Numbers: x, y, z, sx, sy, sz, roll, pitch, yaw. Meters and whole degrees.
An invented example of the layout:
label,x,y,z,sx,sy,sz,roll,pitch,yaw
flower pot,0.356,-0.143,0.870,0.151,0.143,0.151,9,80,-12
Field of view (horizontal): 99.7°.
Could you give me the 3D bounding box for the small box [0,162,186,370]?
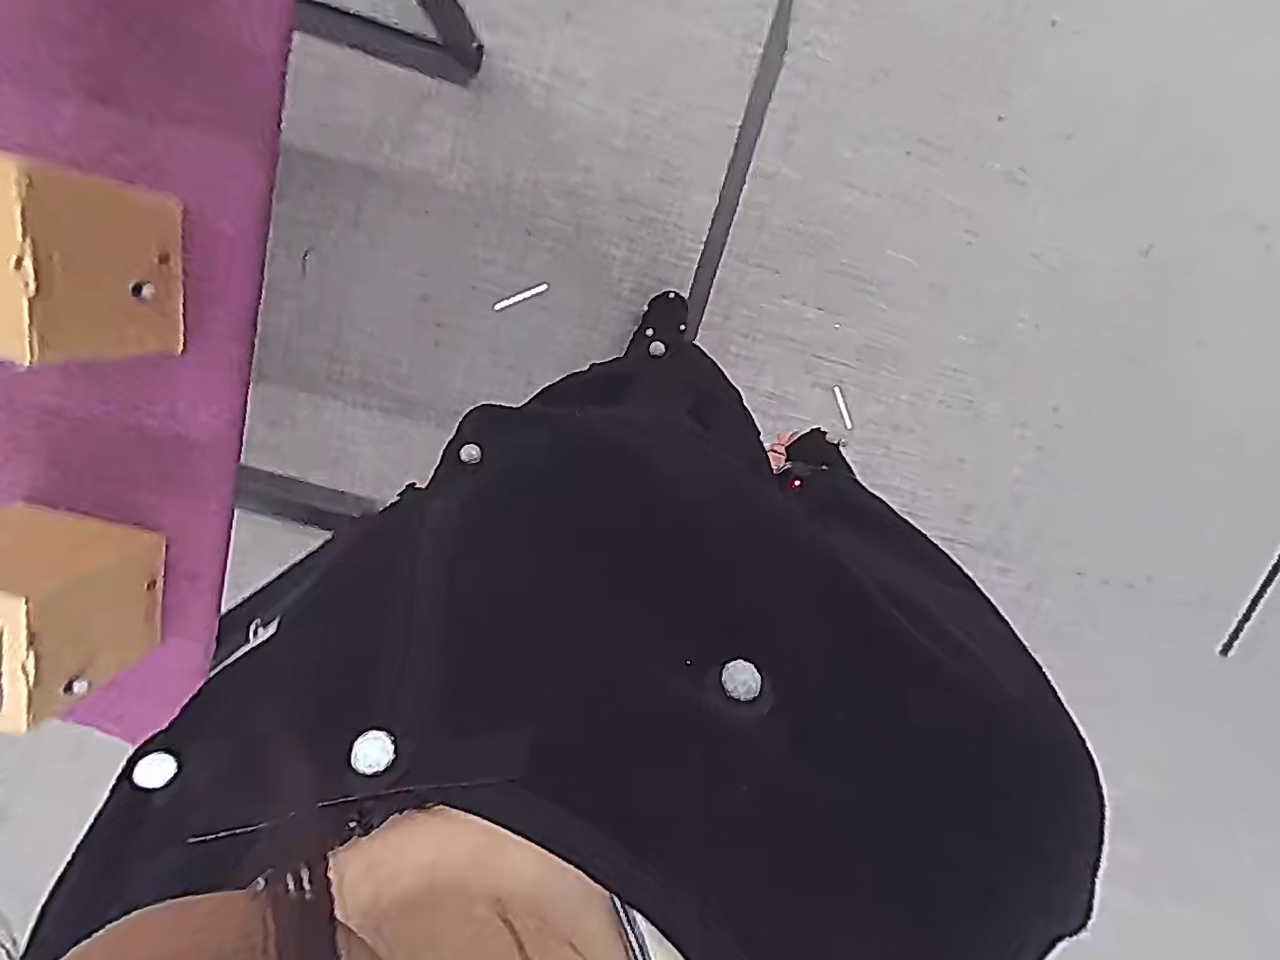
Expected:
label,x,y,z,sx,sy,sz,roll,pitch,yaw
small box,-0.591,-0.208,0.518,0.179,0.176,0.168,11,105,-6
